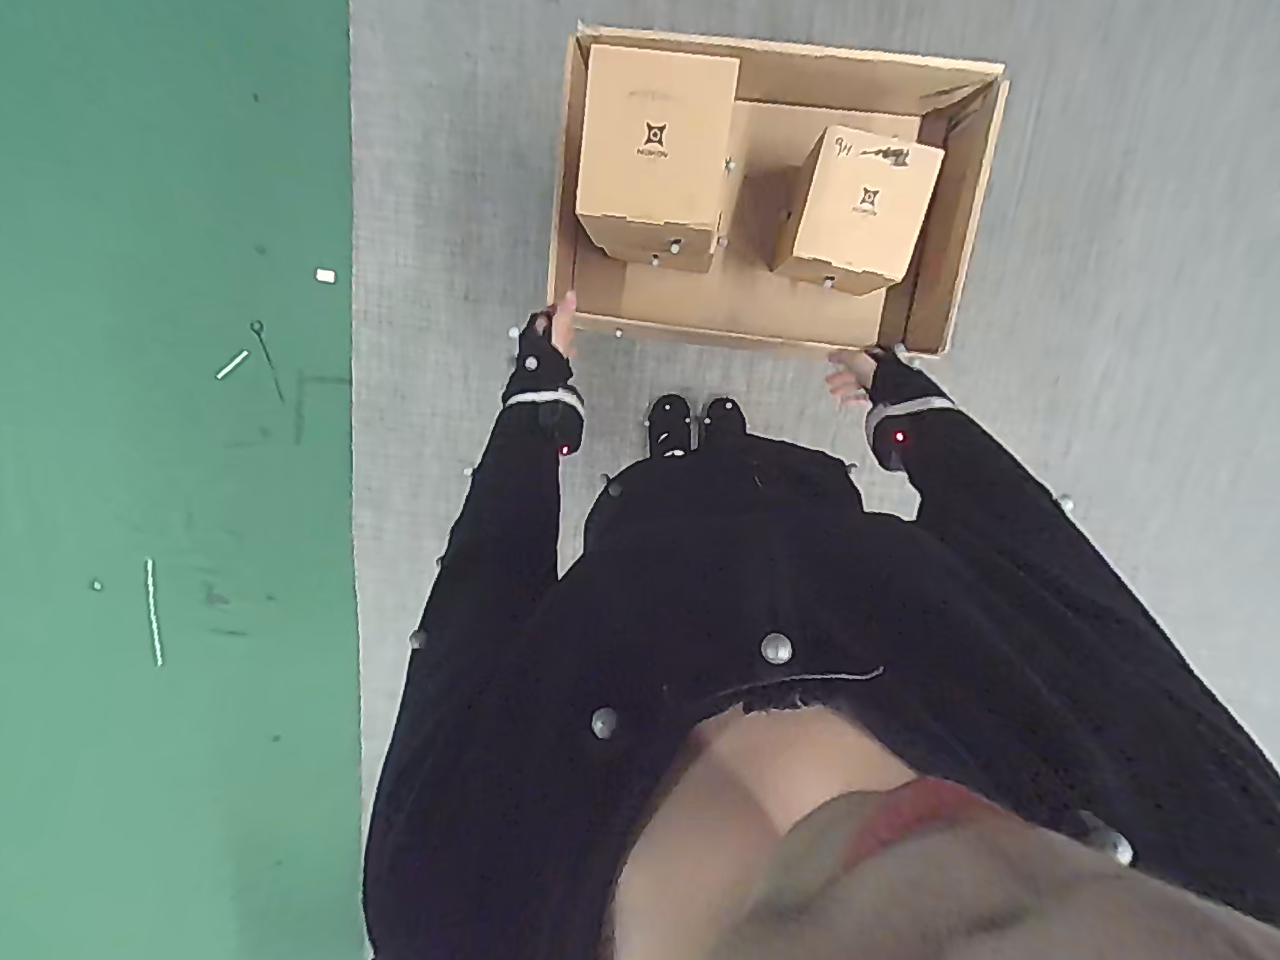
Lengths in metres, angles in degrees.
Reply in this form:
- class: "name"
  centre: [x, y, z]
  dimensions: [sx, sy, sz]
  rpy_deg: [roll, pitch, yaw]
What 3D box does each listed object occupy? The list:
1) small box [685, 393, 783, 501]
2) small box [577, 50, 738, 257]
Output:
- class: "small box"
  centre: [0.231, -0.082, 1.380]
  dimensions: [0.179, 0.176, 0.168]
  rpy_deg: [-38, 66, -21]
- class: "small box"
  centre: [0.023, -0.395, 0.687]
  dimensions: [0.168, 0.176, 0.179]
  rpy_deg: [8, 101, 3]
